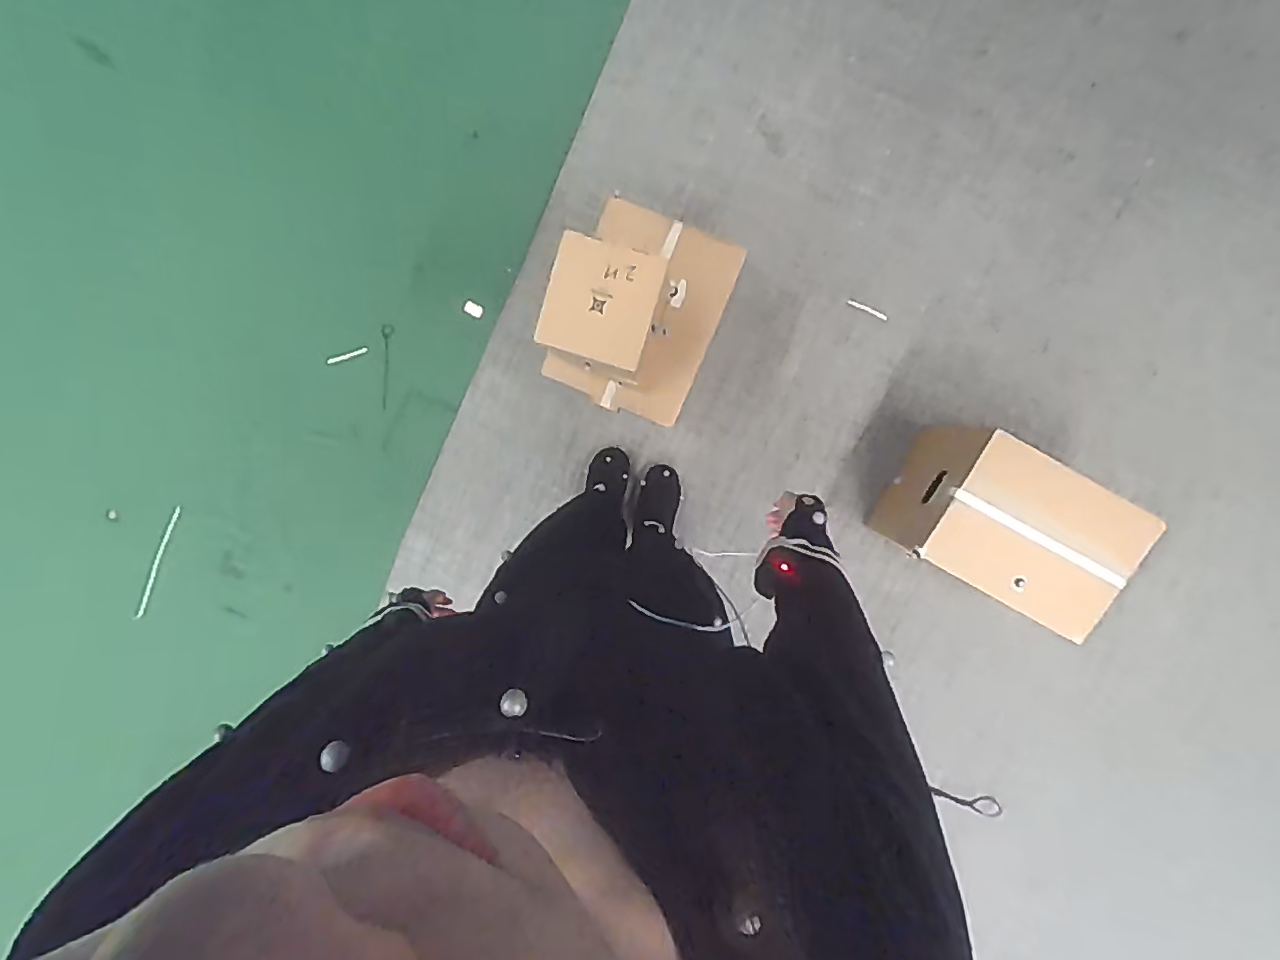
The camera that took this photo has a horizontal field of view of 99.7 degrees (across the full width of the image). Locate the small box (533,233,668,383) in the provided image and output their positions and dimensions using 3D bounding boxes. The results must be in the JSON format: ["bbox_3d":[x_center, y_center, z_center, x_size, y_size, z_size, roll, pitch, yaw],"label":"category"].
[{"bbox_3d":[-0.056,-0.268,0.892,0.168,0.176,0.179,19,95,1],"label":"small box"}]

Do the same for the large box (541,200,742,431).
[{"bbox_3d":[0.008,-0.356,1.291,0.320,0.320,0.408,24,95,1],"label":"large box"}]

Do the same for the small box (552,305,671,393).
[{"bbox_3d":[-0.049,-0.277,1.056,0.179,0.176,0.168,23,95,2],"label":"small box"}]
